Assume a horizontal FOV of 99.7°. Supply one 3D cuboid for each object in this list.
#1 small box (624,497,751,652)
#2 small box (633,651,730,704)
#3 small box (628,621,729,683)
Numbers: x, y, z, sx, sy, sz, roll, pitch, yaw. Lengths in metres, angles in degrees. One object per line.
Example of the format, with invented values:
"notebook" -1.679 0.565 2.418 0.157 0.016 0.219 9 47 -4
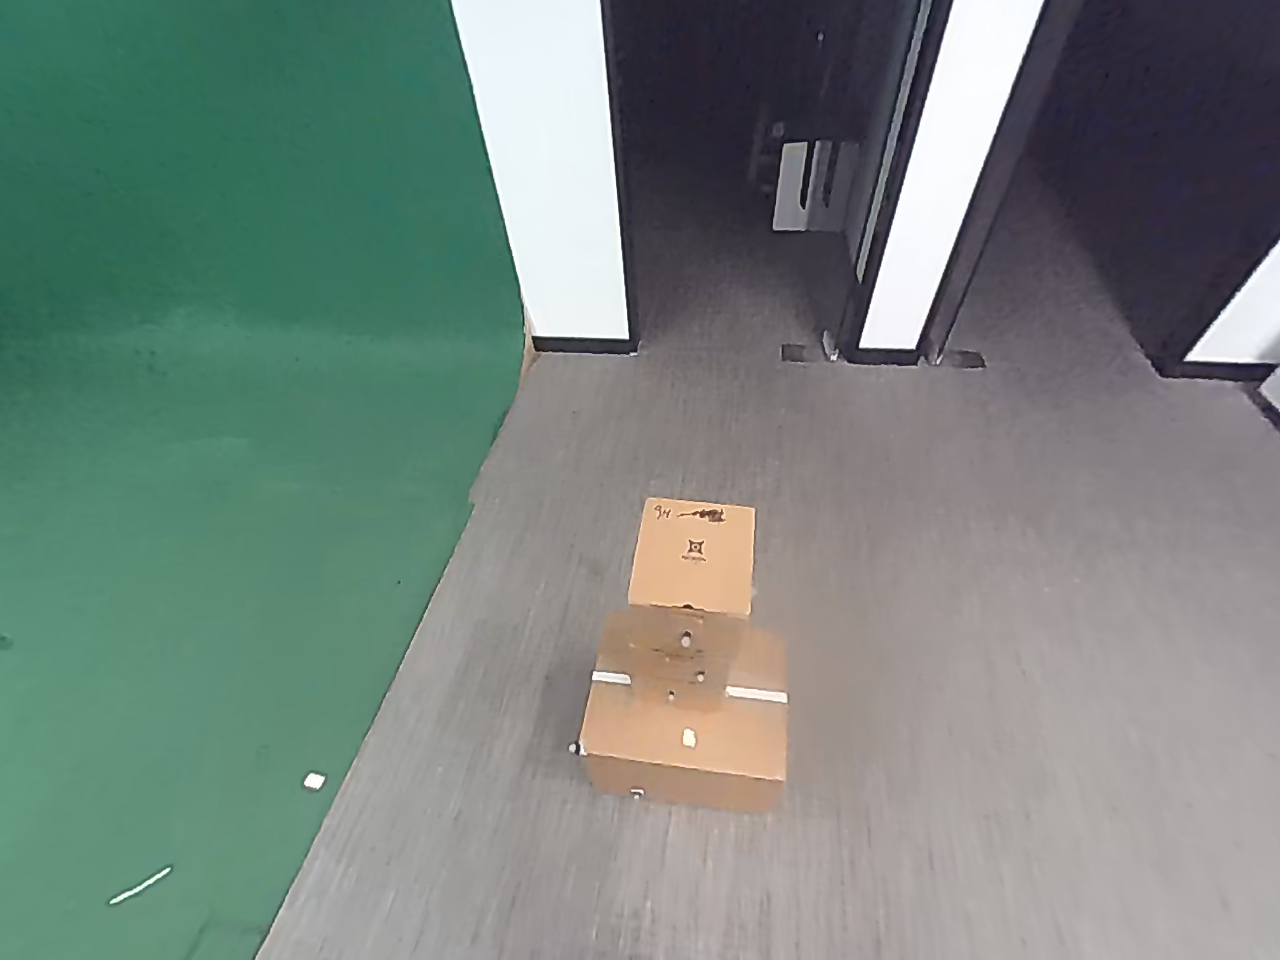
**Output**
"small box" 0.079 0.150 0.833 0.168 0.176 0.179 5 55 9
"small box" 0.089 0.344 1.094 0.179 0.176 0.168 4 55 8
"small box" 0.079 0.247 0.965 0.168 0.176 0.179 5 53 8
